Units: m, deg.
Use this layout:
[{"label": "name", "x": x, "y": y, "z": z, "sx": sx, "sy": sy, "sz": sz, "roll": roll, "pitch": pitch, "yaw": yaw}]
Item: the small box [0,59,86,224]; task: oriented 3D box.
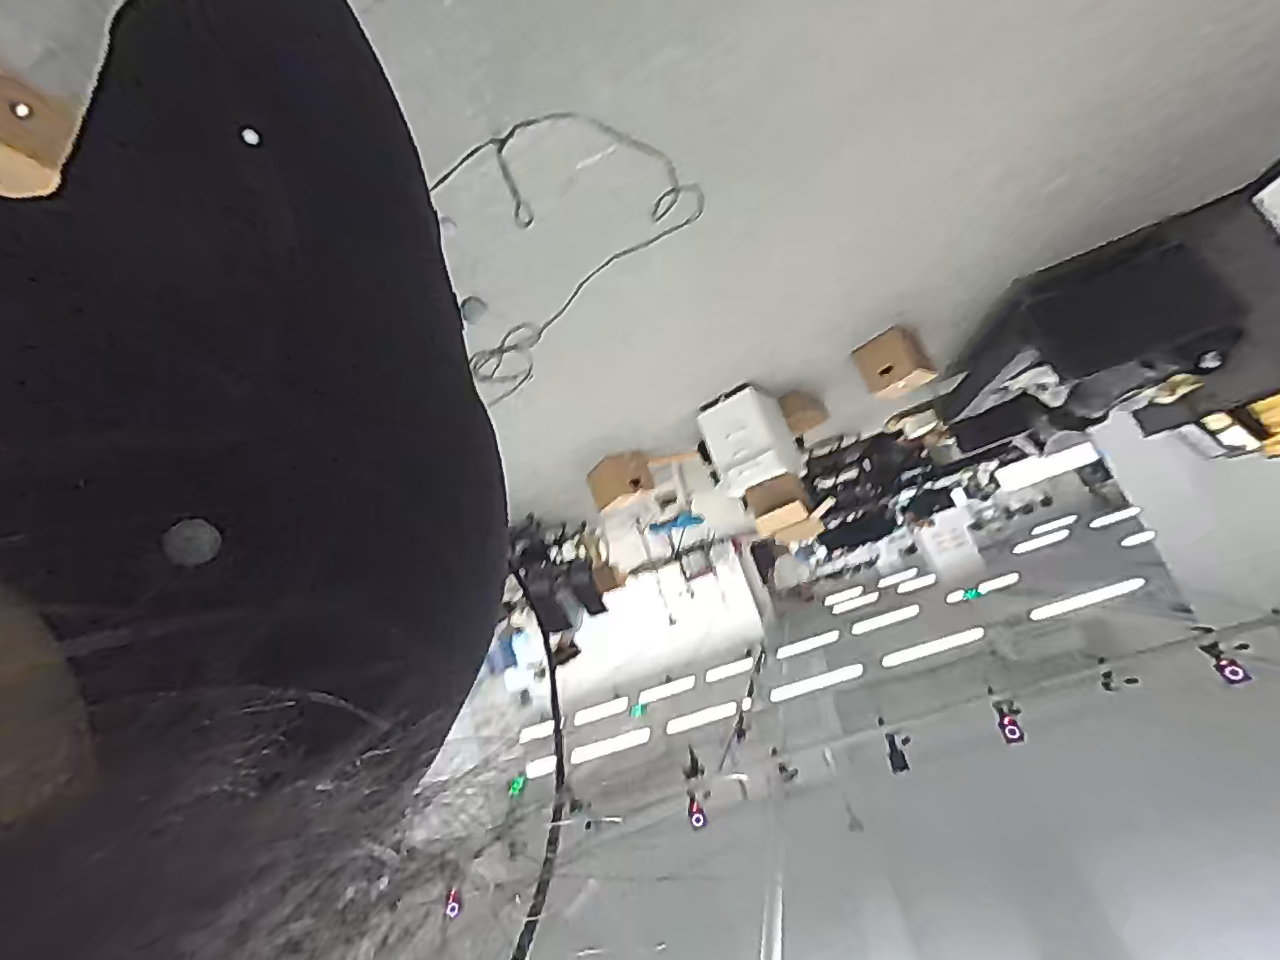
[{"label": "small box", "x": -1.041, "y": -0.557, "z": 0.854, "sx": 0.179, "sy": 0.176, "sz": 0.168, "roll": -23, "pitch": 167, "yaw": 16}]
